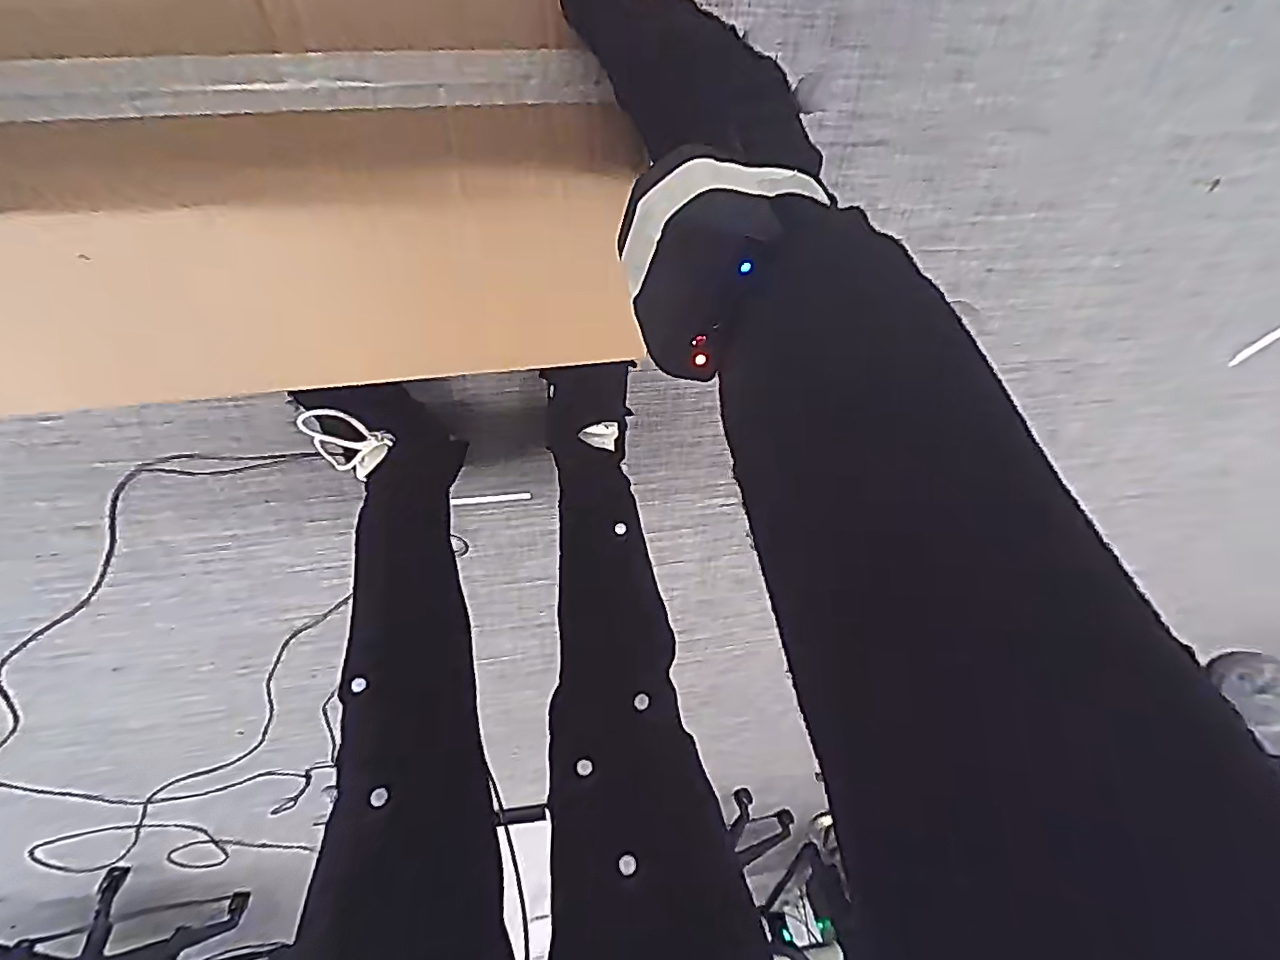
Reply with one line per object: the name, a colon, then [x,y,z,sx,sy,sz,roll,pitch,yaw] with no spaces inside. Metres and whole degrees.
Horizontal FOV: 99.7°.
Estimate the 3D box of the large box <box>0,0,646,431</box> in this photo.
large box: [-0.221,-0.265,0.366,0.408,0.320,0.320,-7,133,-7]
